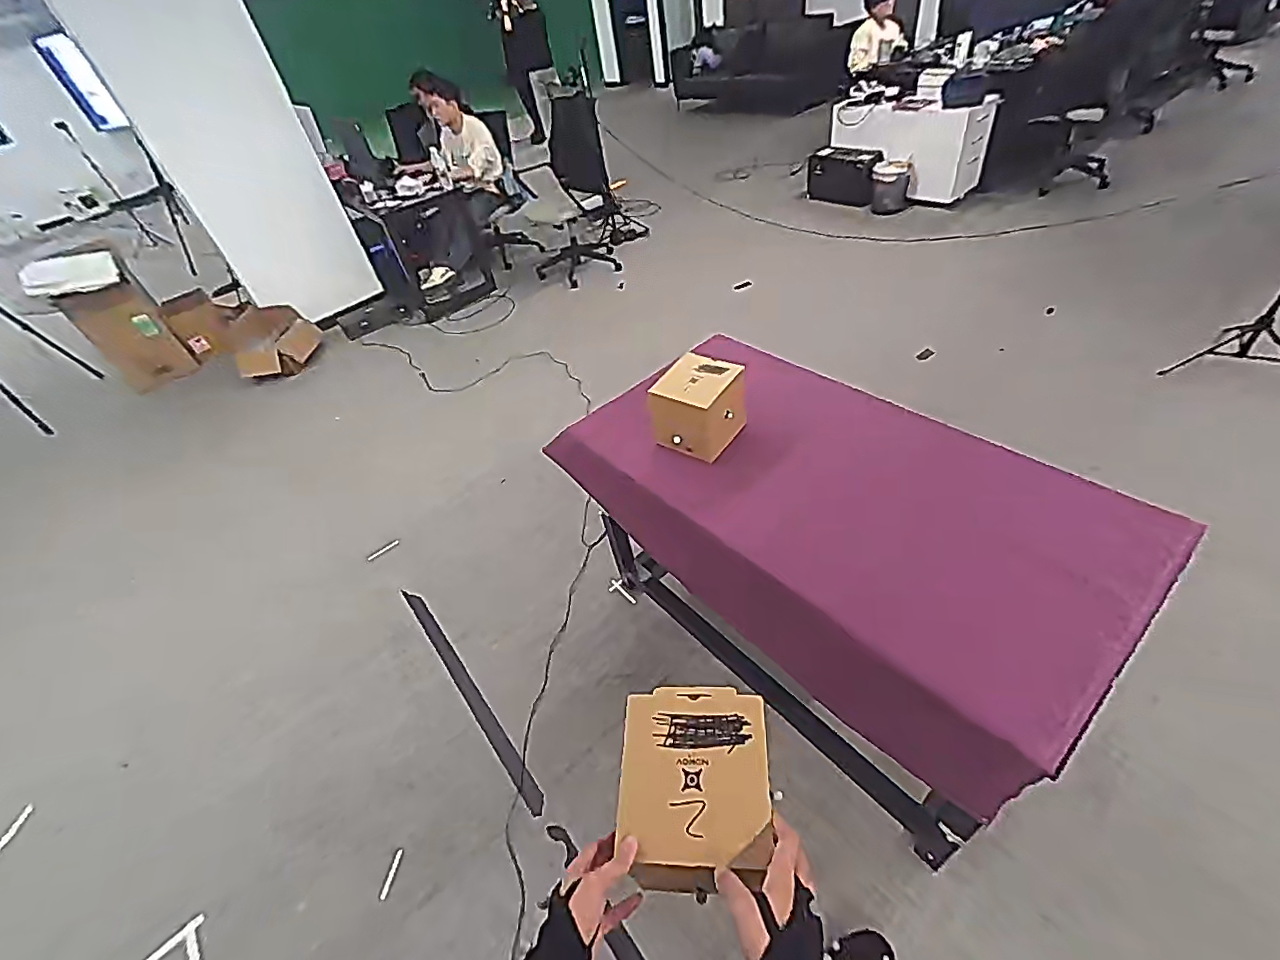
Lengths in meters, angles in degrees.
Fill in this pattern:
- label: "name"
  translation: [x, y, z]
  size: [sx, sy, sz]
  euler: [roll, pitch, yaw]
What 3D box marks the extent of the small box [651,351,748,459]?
- label: "small box"
  translation: [0.149, -0.182, 1.311]
  size: [0.168, 0.176, 0.179]
  euler: [22, 55, 31]
